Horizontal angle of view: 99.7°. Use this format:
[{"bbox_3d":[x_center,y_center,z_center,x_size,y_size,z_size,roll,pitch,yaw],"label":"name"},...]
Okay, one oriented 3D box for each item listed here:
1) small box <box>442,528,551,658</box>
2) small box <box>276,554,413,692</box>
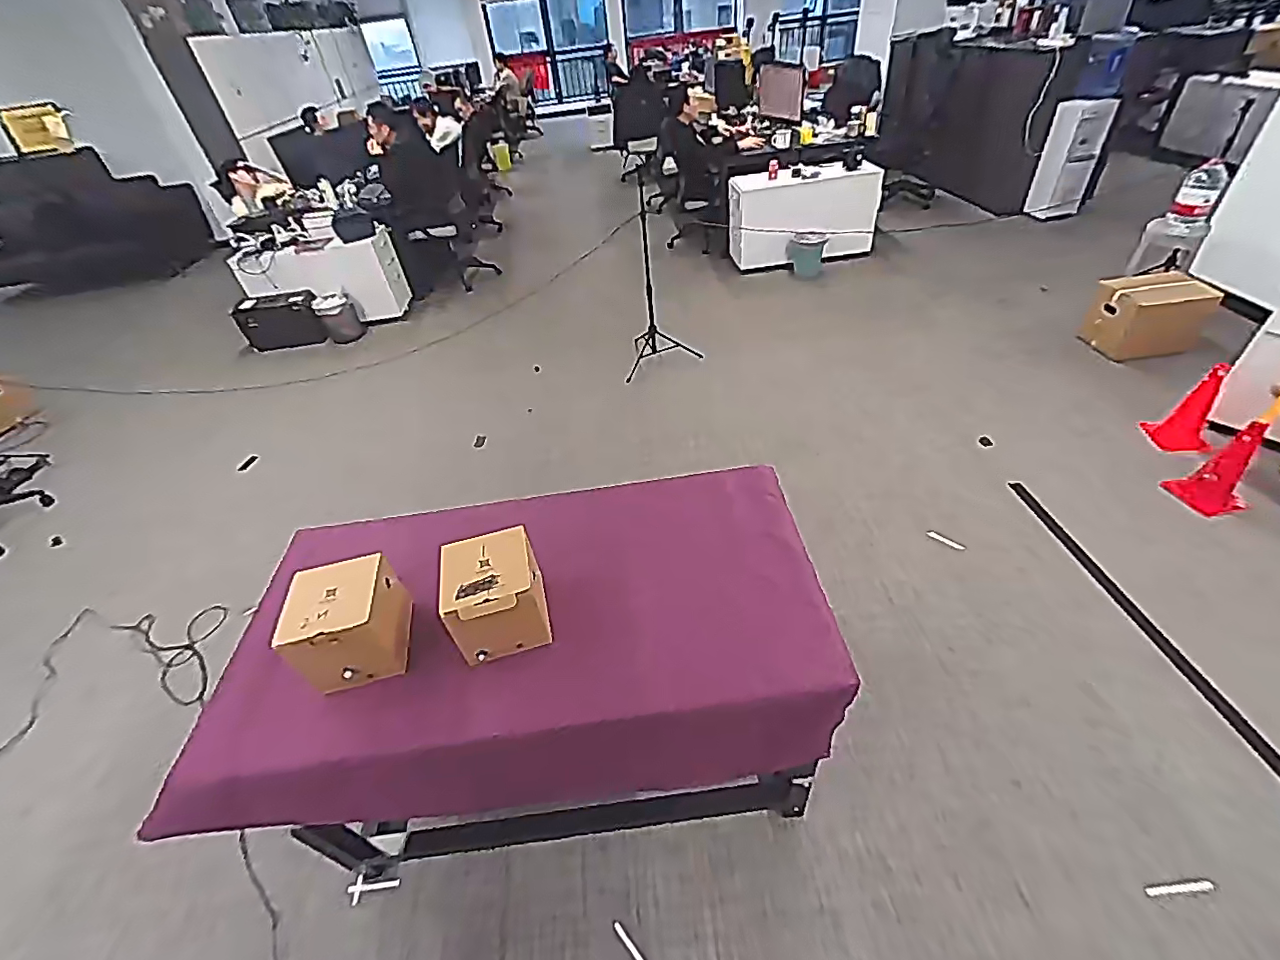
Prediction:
[{"bbox_3d":[-0.279,0.228,1.065,0.168,0.176,0.179,-14,40,-7],"label":"small box"},{"bbox_3d":[-0.557,0.277,1.050,0.168,0.176,0.179,-13,41,-6],"label":"small box"}]
